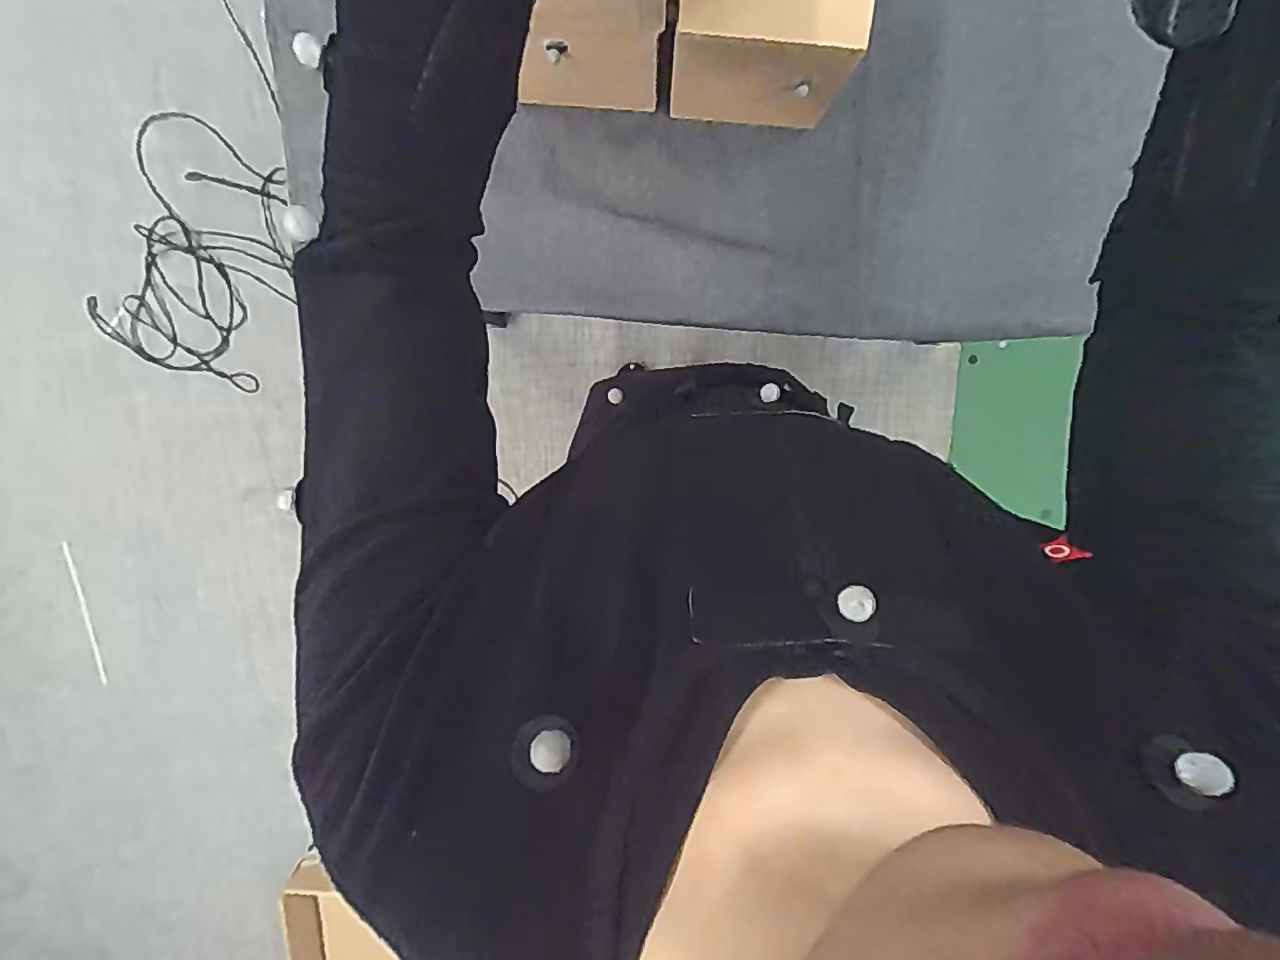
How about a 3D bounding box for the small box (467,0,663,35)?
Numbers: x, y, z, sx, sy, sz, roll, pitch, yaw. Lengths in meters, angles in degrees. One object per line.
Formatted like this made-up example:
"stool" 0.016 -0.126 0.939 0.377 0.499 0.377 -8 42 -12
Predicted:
"small box" -0.060 -0.471 0.399 0.179 0.176 0.168 3 101 0
